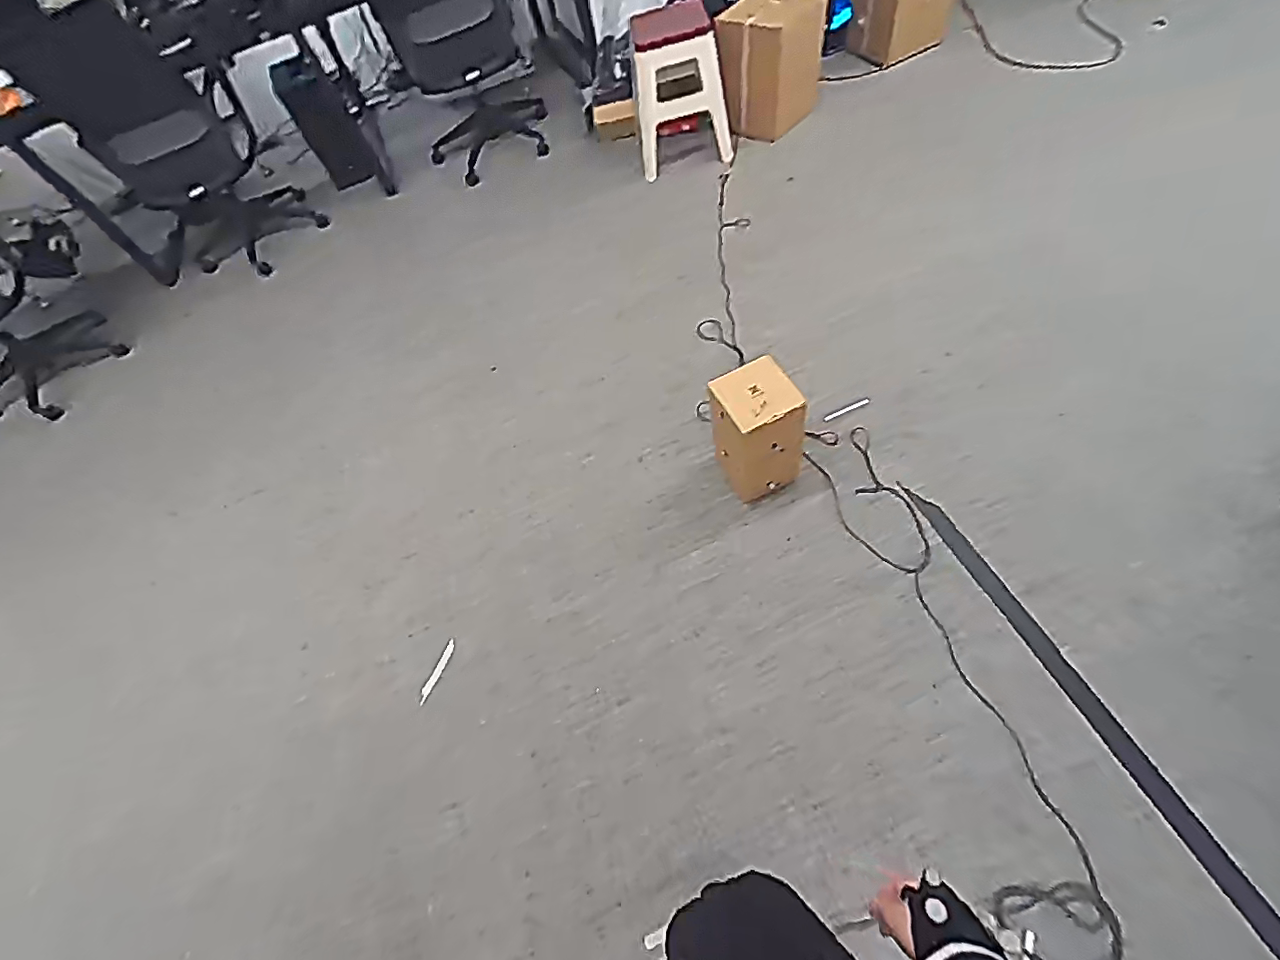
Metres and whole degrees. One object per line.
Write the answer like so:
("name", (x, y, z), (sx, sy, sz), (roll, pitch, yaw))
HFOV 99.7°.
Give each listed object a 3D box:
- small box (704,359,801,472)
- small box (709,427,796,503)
("small box", (0.270, -0.153, 1.316), (0.168, 0.176, 0.179), (-26, 58, -4))
("small box", (0.299, -0.068, 1.455), (0.168, 0.176, 0.179), (-25, 58, -3))
